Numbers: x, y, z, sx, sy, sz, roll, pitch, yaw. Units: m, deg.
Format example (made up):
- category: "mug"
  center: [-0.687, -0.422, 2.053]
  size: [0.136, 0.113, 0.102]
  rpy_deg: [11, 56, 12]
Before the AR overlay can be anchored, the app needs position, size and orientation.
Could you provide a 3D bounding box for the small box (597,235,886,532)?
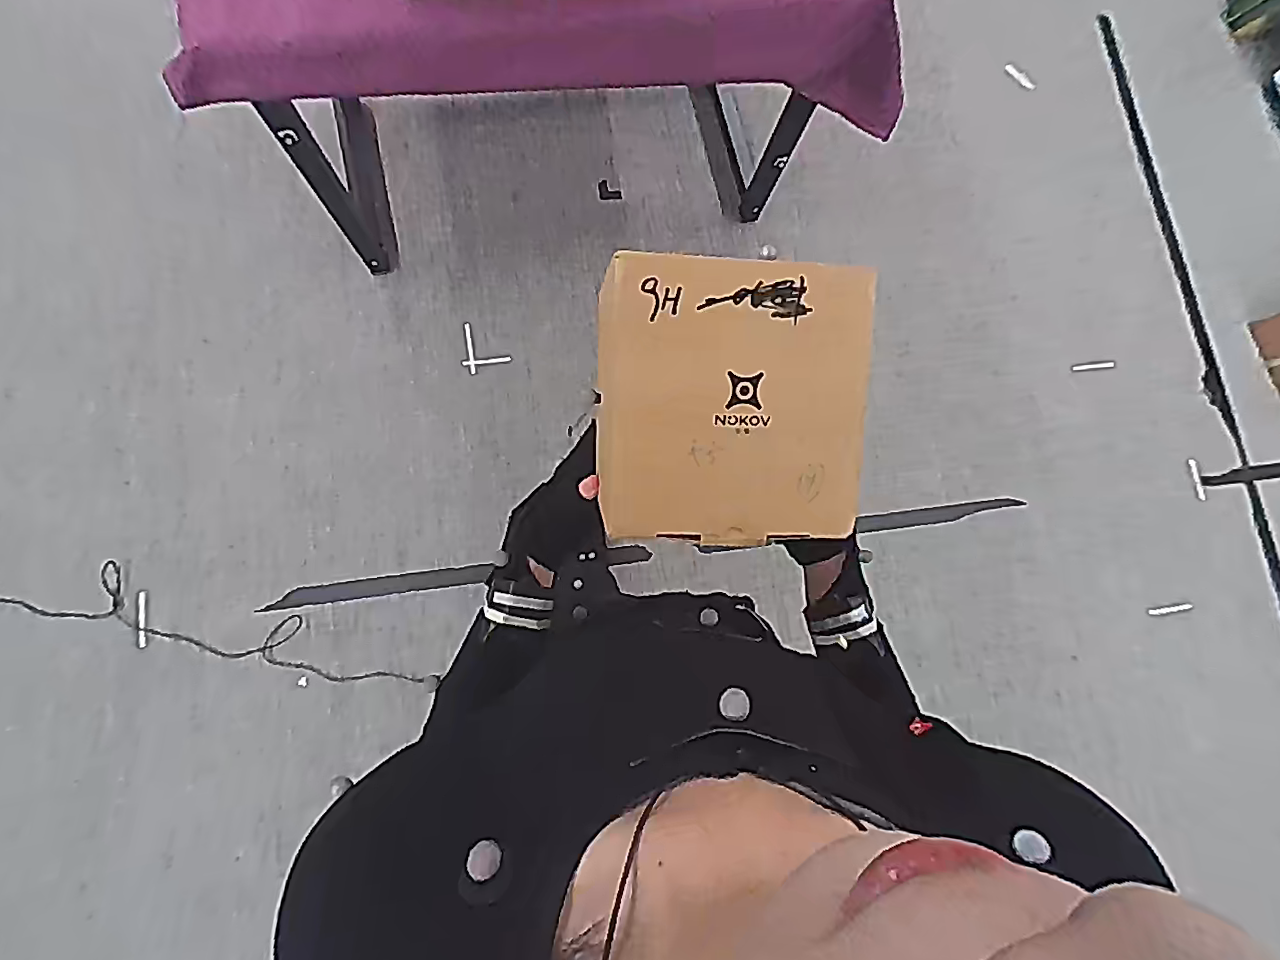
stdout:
- category: "small box"
  center: [0.055, -0.068, 0.408]
  size: [0.168, 0.176, 0.179]
  rpy_deg: [0, 100, -7]
